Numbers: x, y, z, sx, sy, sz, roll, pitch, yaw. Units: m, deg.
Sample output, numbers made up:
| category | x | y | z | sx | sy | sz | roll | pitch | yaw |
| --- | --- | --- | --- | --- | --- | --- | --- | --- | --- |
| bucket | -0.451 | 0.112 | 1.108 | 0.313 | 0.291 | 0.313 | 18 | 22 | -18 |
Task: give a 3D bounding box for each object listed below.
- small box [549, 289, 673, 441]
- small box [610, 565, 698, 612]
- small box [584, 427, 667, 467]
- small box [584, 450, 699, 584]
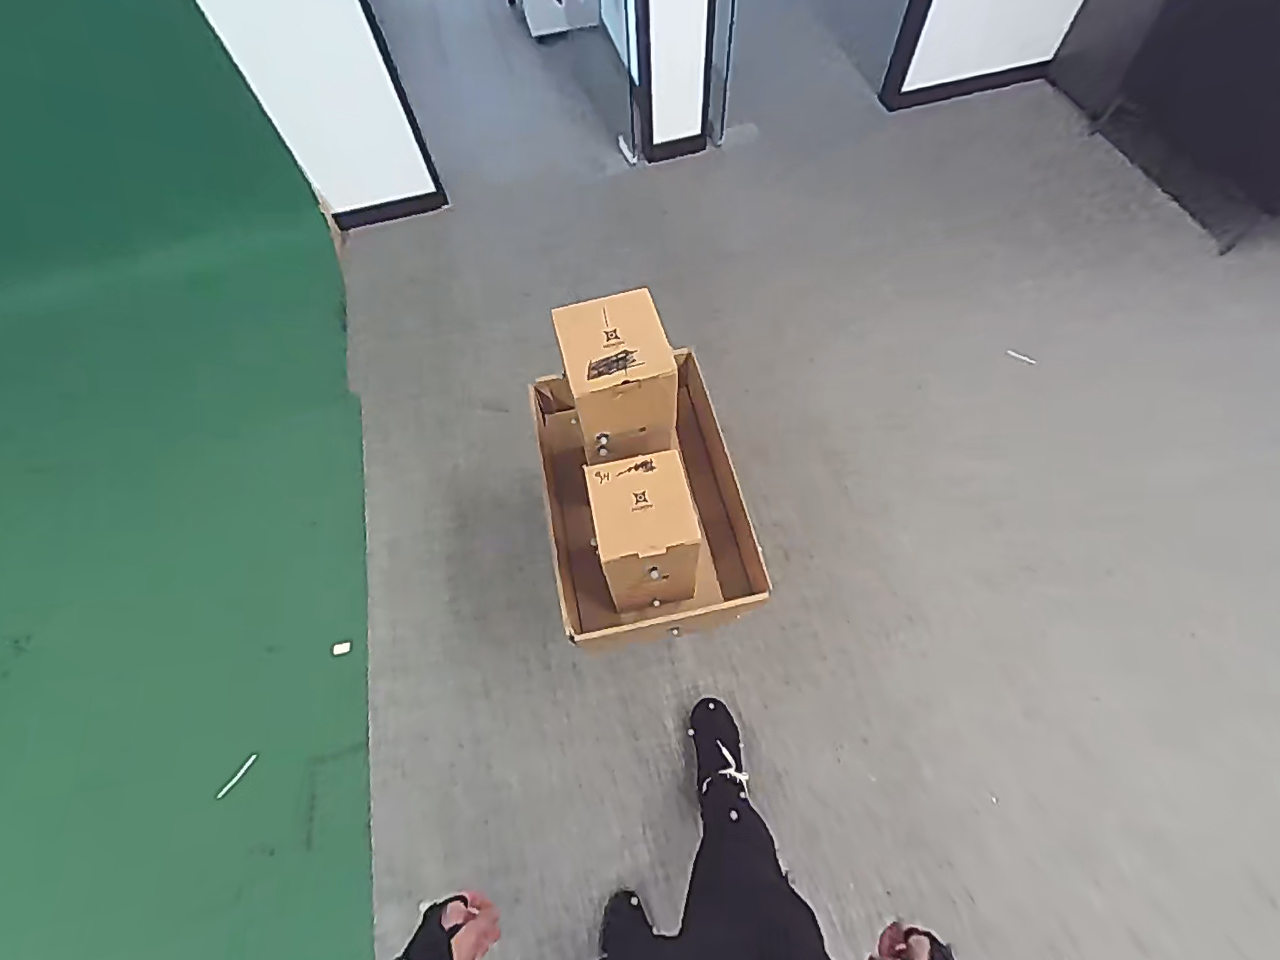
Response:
| category | x | y | z | sx | sy | sz | roll | pitch | yaw |
| --- | --- | --- | --- | --- | --- | --- | --- | --- | --- |
| small box | -0.043 | -0.183 | 0.912 | 0.168 | 0.176 | 0.179 | -15 | 65 | -4 |
| small box | 0.016 | 0.150 | 1.099 | 0.168 | 0.176 | 0.179 | -12 | 62 | -2 |
| small box | -0.036 | -0.066 | 1.220 | 0.168 | 0.176 | 0.179 | -13 | 66 | -4 |
| small box | 0.005 | 0.075 | 0.955 | 0.168 | 0.176 | 0.179 | -12 | 63 | -3 |
